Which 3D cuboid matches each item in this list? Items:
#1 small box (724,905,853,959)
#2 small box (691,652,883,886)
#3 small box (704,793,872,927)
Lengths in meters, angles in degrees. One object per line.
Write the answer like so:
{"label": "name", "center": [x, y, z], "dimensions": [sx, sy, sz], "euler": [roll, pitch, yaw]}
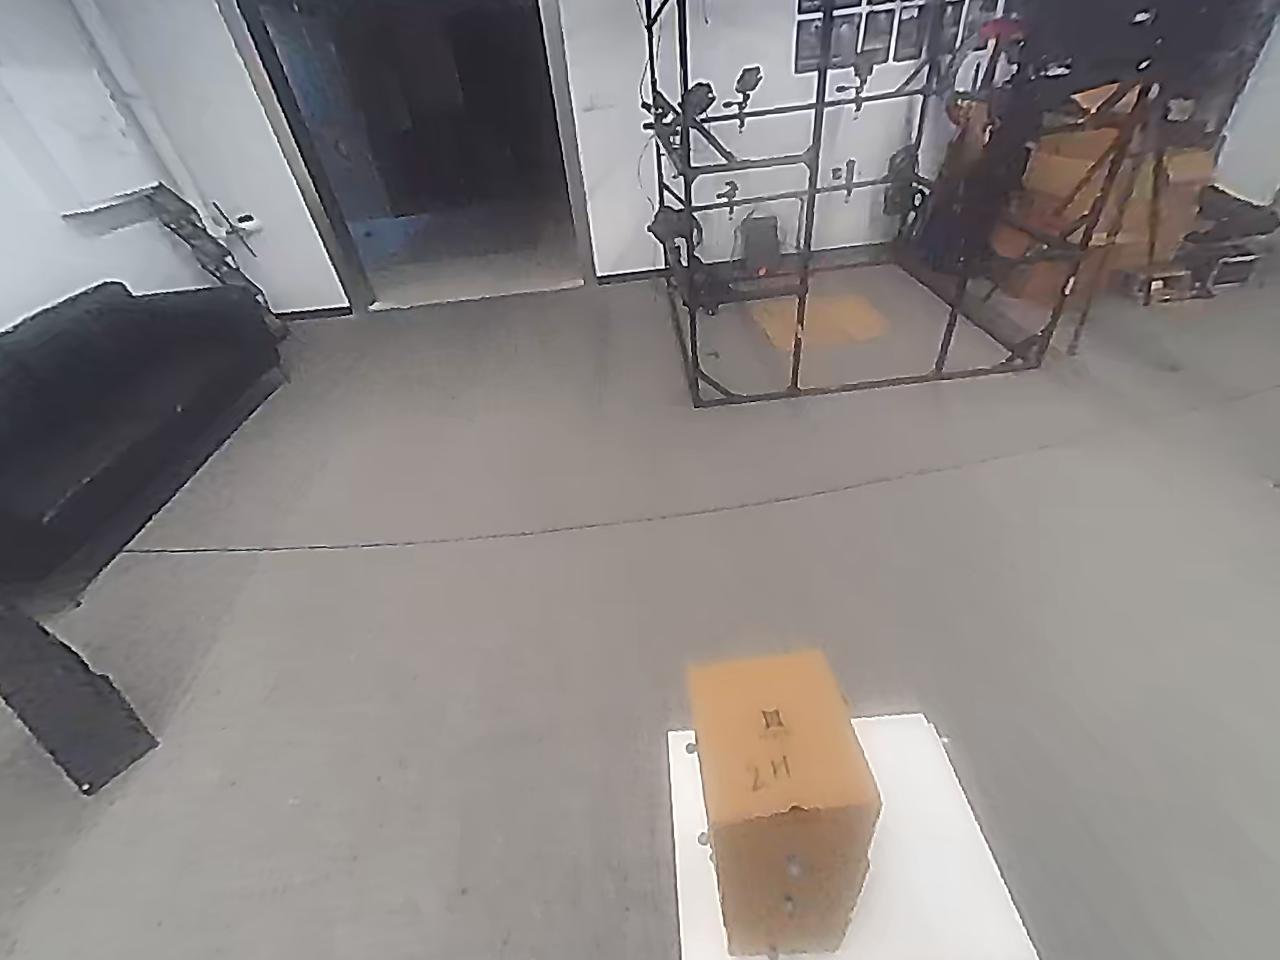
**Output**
{"label": "small box", "center": [0.205, 0.592, 0.821], "dimensions": [0.168, 0.176, 0.179], "euler": [-5, 37, 4]}
{"label": "small box", "center": [0.155, 0.331, 0.627], "dimensions": [0.168, 0.176, 0.179], "euler": [-9, 36, 2]}
{"label": "small box", "center": [0.181, 0.464, 0.721], "dimensions": [0.179, 0.176, 0.168], "euler": [-9, 36, 1]}
